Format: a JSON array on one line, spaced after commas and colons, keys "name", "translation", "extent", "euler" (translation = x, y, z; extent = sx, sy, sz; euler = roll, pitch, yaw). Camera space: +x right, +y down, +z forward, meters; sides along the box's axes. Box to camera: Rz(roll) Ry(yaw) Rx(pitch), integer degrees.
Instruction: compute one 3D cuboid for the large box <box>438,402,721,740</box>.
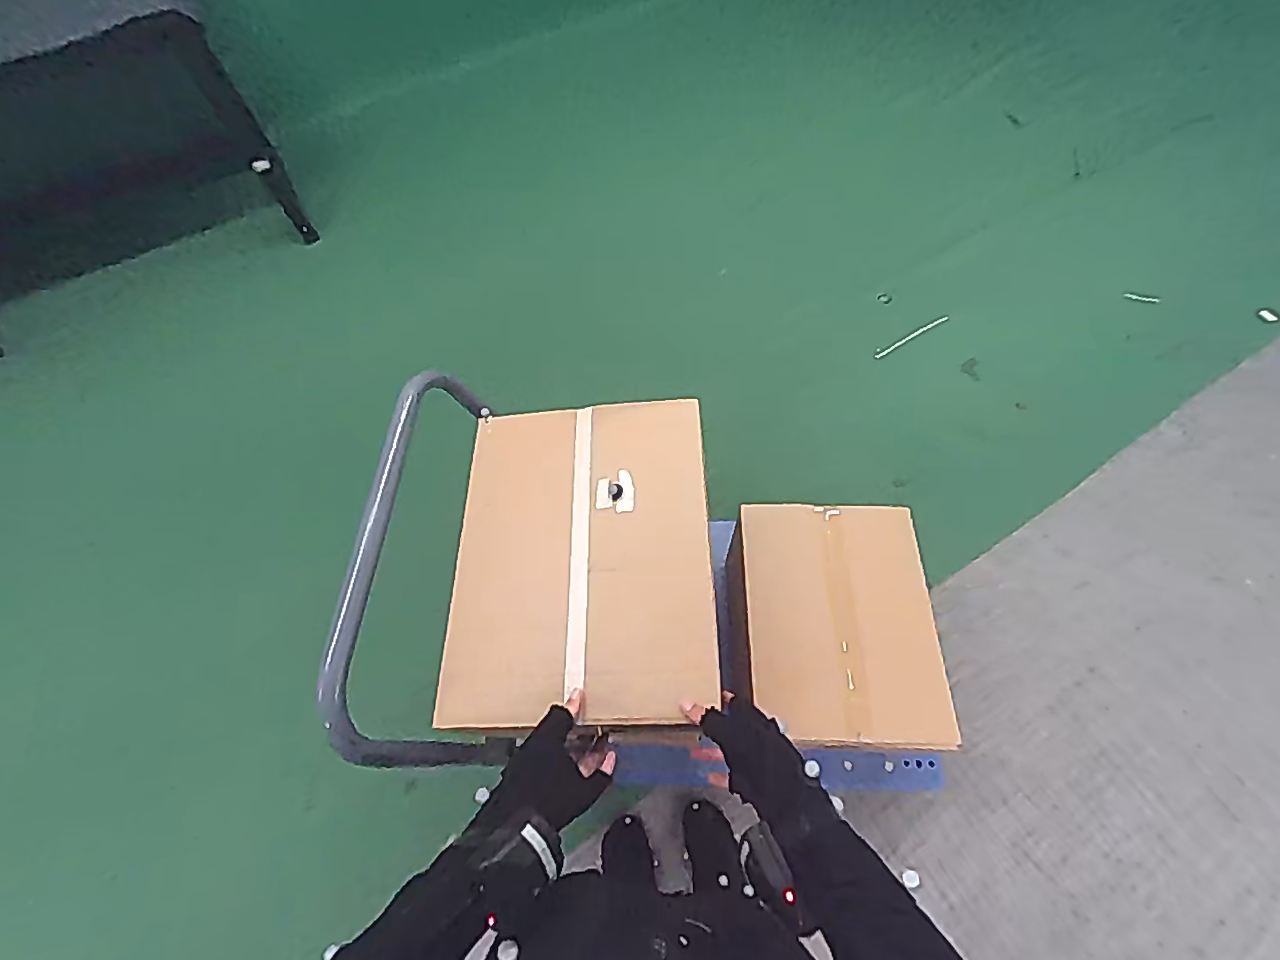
[{"name": "large box", "translation": [-0.054, 0.149, 0.792], "extent": [0.320, 0.320, 0.408], "euler": [-4, 61, 6]}]
